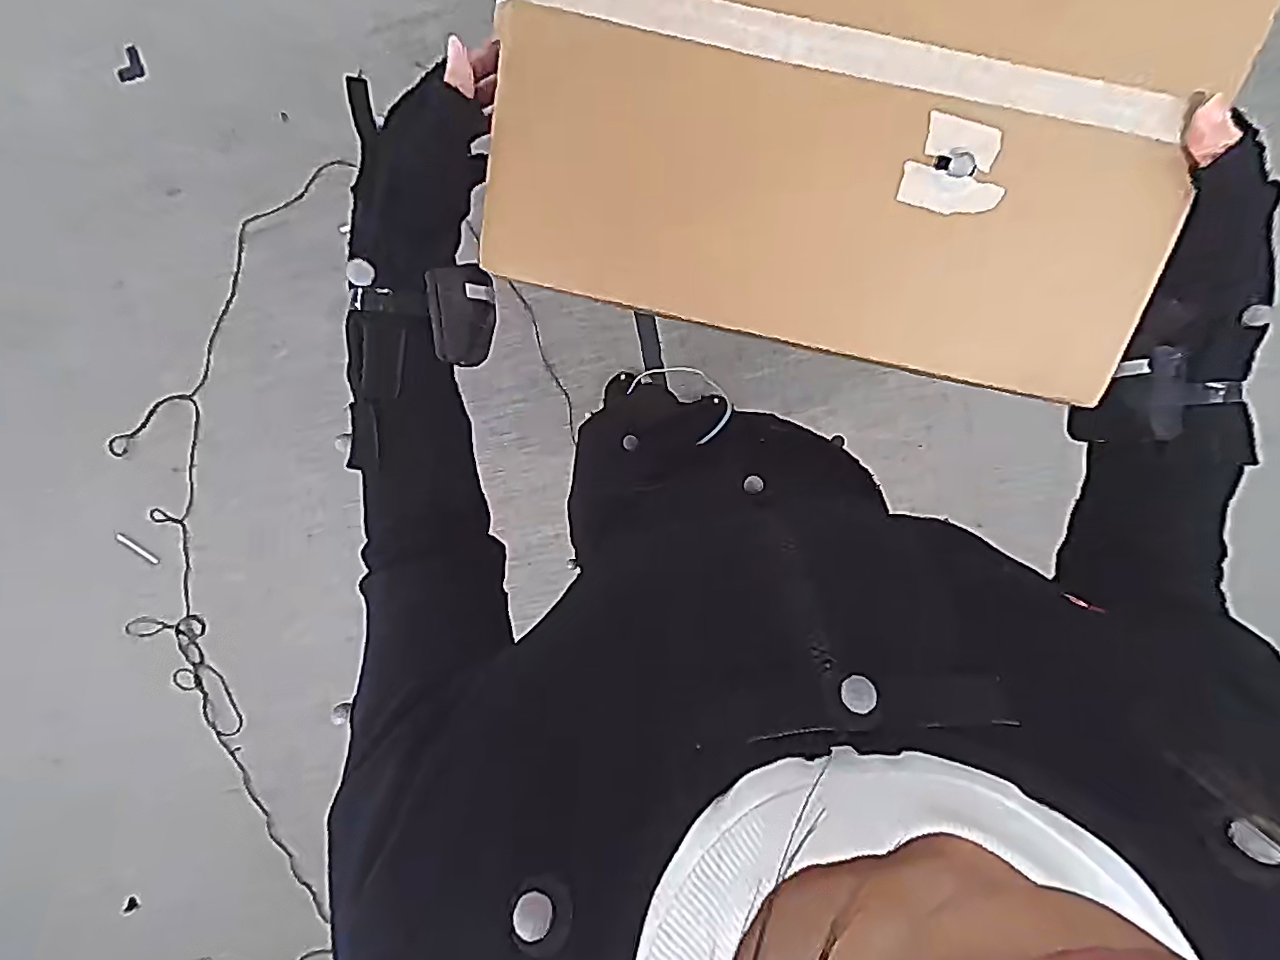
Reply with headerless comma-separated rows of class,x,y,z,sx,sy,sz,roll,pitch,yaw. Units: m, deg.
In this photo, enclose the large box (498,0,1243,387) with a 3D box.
large box,0.130,-0.280,0.460,0.408,0.320,0.320,11,107,0
